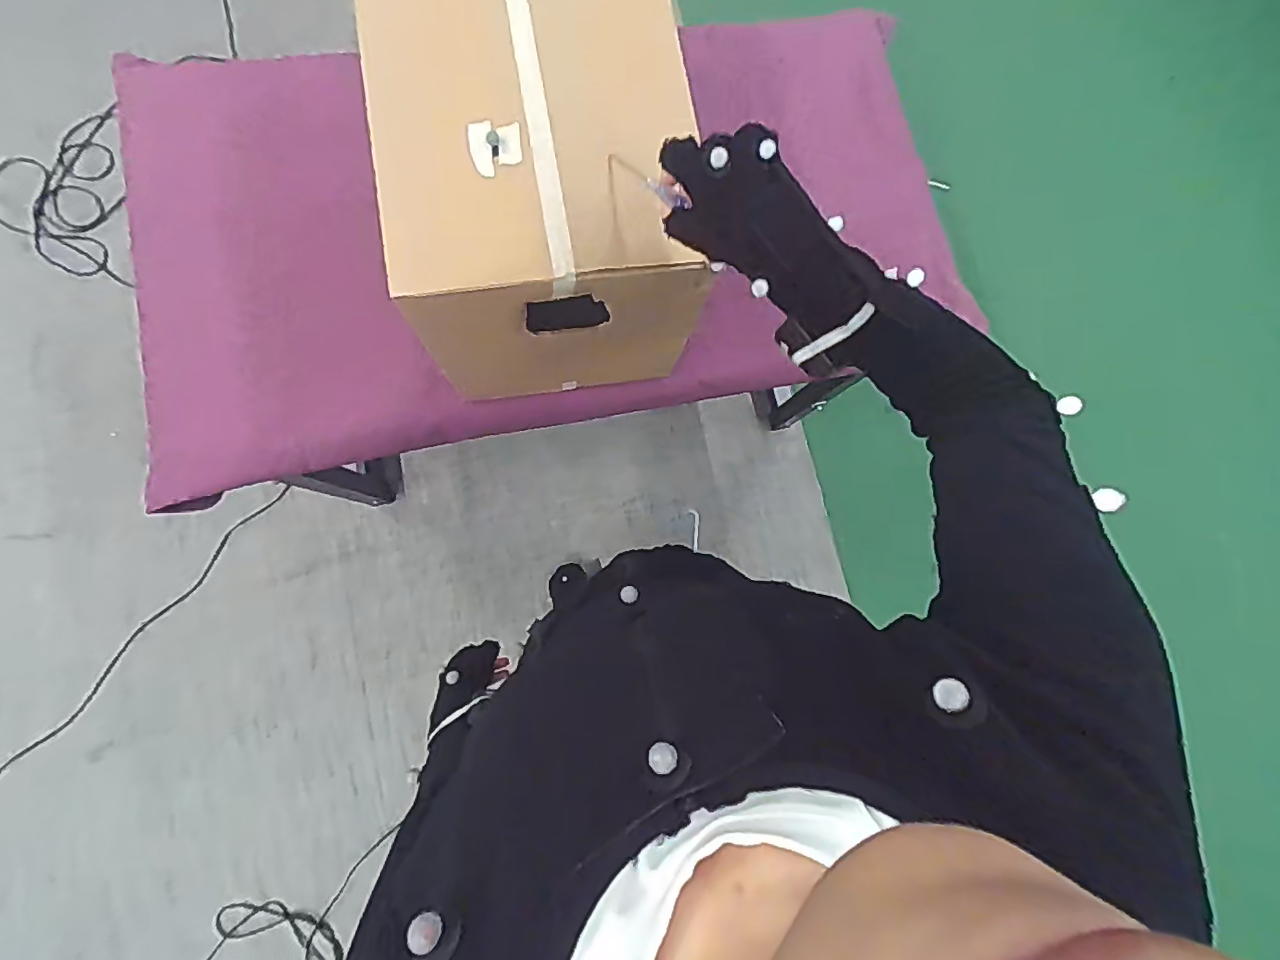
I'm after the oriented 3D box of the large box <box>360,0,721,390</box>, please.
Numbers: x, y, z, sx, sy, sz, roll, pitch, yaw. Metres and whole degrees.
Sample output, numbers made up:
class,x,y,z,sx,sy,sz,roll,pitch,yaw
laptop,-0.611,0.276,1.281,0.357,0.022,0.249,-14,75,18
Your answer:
class,x,y,z,sx,sy,sz,roll,pitch,yaw
large box,-0.123,-0.366,0.684,0.320,0.320,0.408,-9,83,-8
